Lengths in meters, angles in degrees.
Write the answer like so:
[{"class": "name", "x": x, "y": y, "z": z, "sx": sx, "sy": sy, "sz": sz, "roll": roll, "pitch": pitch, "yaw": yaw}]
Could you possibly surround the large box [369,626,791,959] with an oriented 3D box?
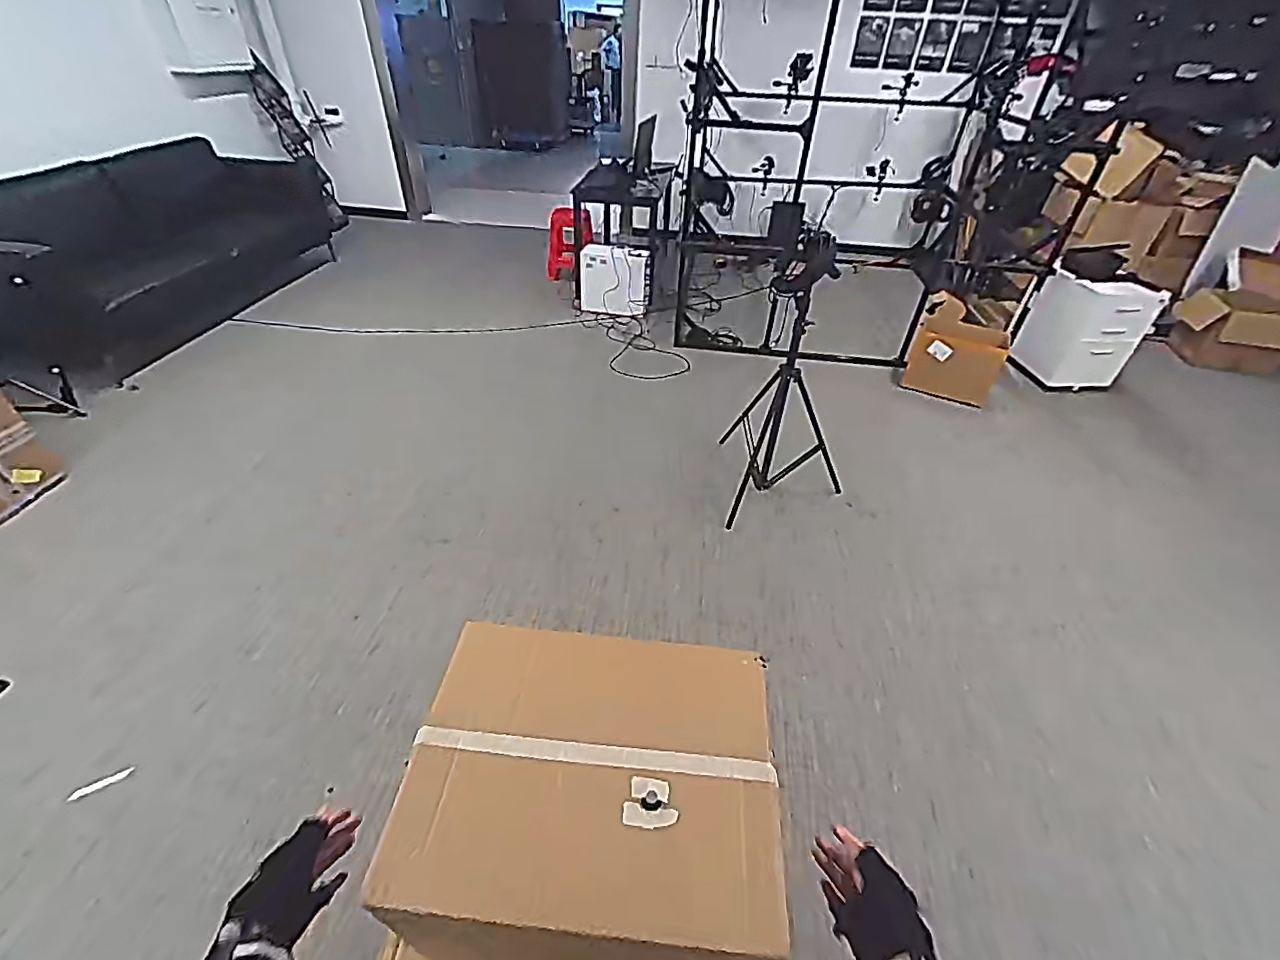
[{"class": "large box", "x": -0.057, "y": 0.424, "z": 0.707, "sx": 0.408, "sy": 0.320, "sz": 0.320, "roll": 5, "pitch": 40, "yaw": 2}]
